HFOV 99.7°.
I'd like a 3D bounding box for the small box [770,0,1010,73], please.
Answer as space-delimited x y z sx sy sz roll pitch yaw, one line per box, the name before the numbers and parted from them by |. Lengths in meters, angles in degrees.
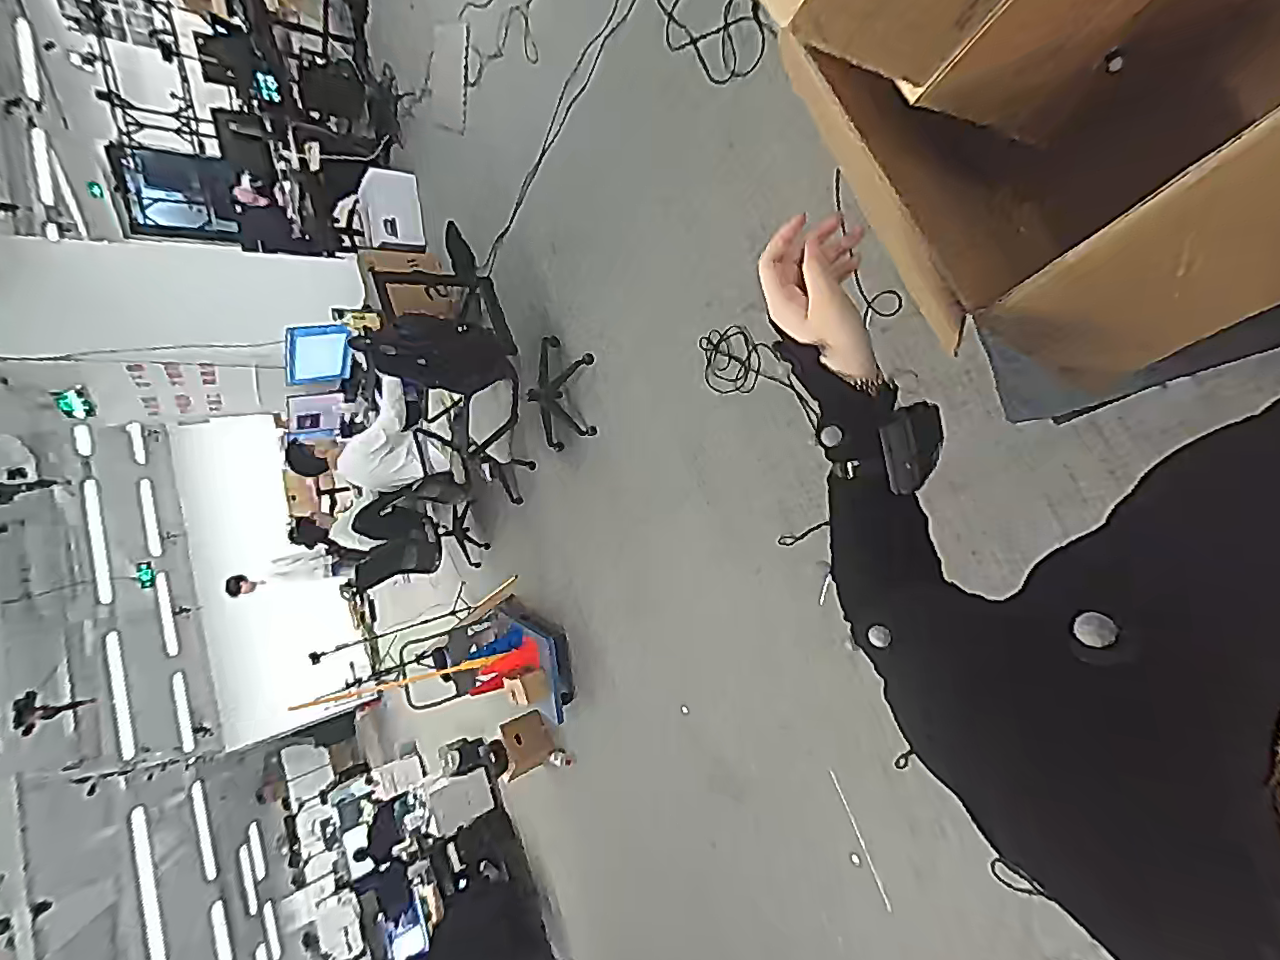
small box | 0.163 -0.392 0.325 0.168 0.176 0.179 -38 73 53
